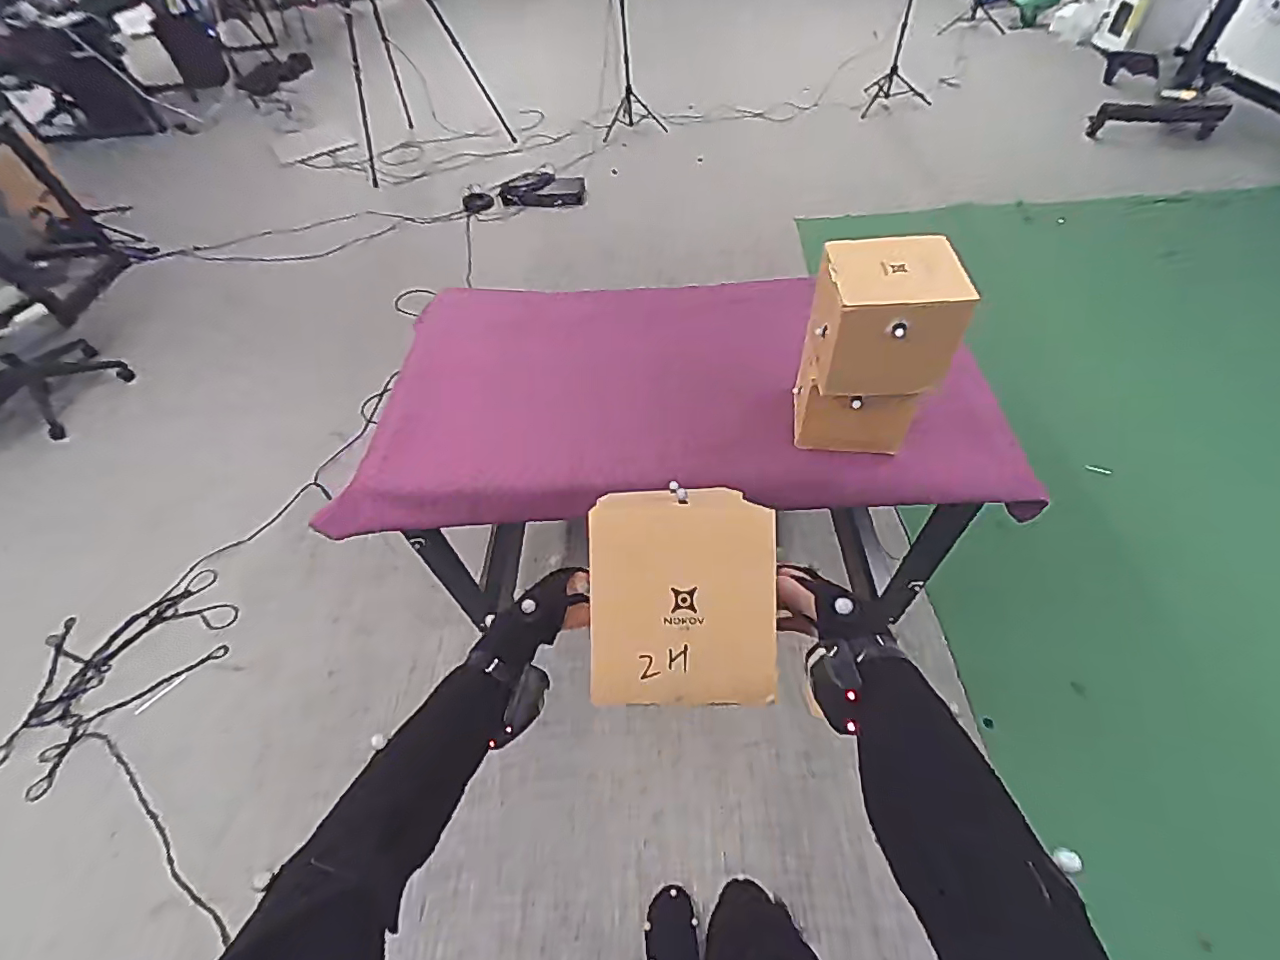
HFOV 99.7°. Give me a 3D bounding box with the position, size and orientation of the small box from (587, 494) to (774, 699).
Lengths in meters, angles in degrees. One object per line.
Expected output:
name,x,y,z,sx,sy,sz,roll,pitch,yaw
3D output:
small box,0.035,0.104,0.555,0.168,0.176,0.179,0,92,0

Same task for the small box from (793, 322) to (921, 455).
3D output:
small box,0.374,-0.160,0.958,0.179,0.176,0.168,4,52,10

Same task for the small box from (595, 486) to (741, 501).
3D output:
small box,0.038,0.094,0.721,0.179,0.176,0.168,-3,91,1

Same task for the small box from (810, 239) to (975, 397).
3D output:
small box,0.359,-0.238,0.813,0.179,0.176,0.168,0,52,7
